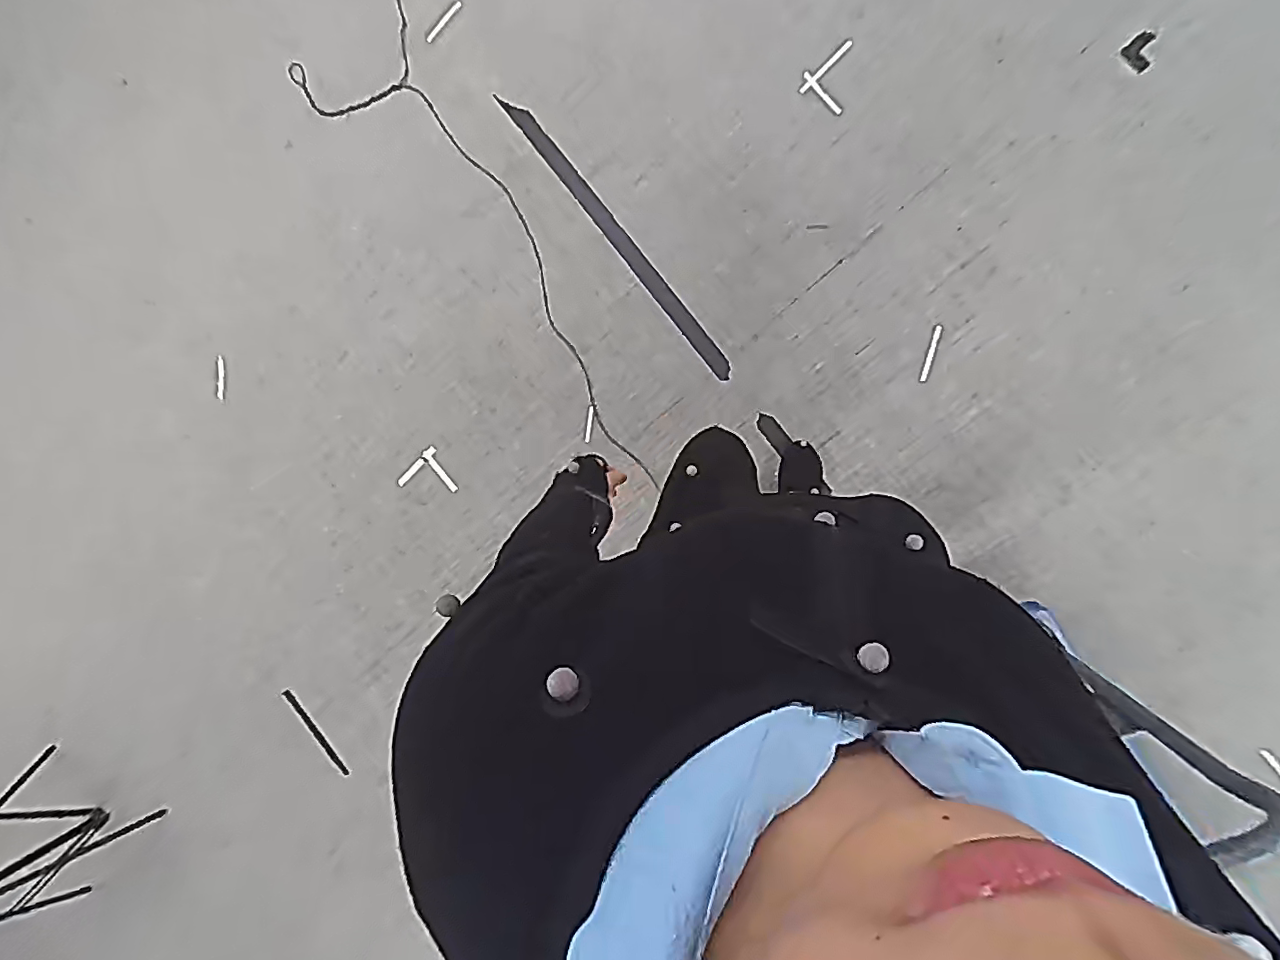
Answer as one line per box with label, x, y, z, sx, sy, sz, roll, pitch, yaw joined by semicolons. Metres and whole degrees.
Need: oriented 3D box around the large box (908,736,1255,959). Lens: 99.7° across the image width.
large box;0.840;0.801;1.092;0.408;0.320;0.320;-30;88;13
